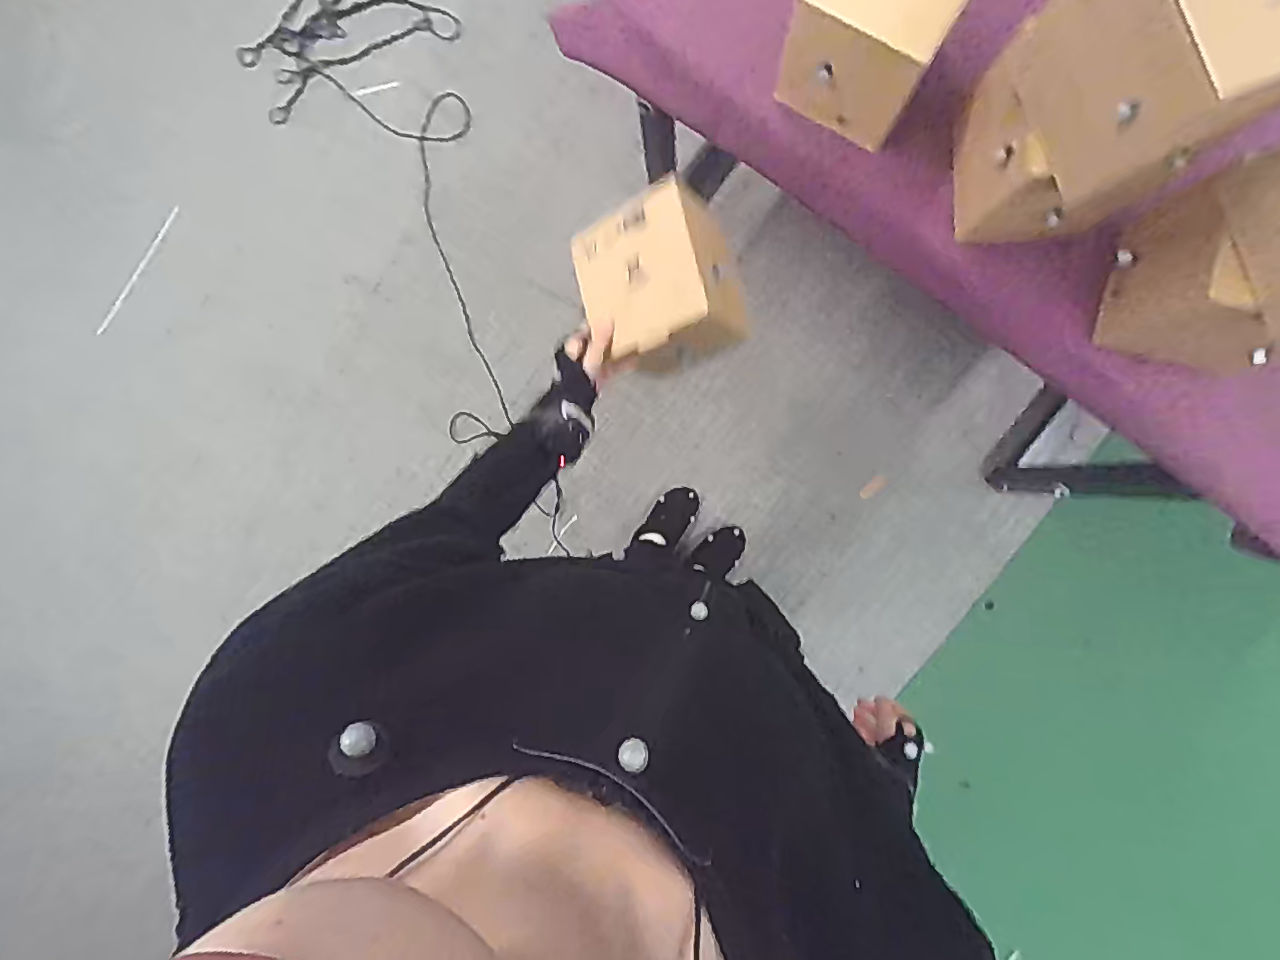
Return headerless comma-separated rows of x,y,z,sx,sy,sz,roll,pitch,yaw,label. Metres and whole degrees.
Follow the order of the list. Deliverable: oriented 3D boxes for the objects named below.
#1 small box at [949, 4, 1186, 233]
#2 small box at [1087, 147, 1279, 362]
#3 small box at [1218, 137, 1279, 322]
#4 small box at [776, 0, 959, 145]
0.501,-0.418,0.659,0.168,0.176,0.179,-1,90,4,small box
0.700,-0.251,0.645,0.179,0.176,0.168,15,89,5,small box
0.694,-0.264,0.482,0.168,0.176,0.179,-18,88,3,small box
0.287,-0.572,0.677,0.168,0.176,0.179,30,91,4,small box
